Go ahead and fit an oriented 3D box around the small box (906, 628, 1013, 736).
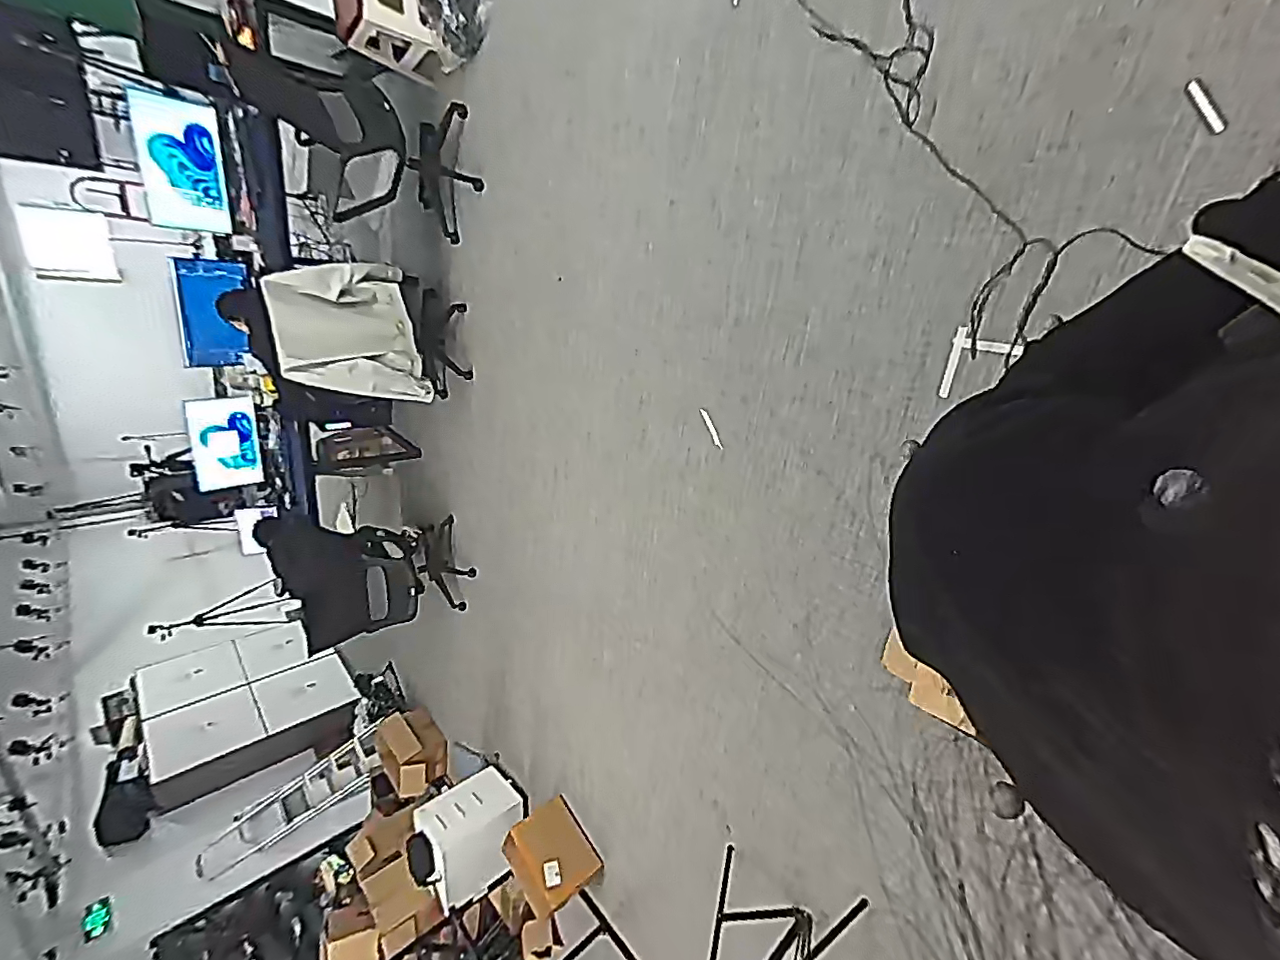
[{"bbox_3d":[0.807,0.497,1.368,0.179,0.176,0.168,19,115,42],"label":"small box"}]
